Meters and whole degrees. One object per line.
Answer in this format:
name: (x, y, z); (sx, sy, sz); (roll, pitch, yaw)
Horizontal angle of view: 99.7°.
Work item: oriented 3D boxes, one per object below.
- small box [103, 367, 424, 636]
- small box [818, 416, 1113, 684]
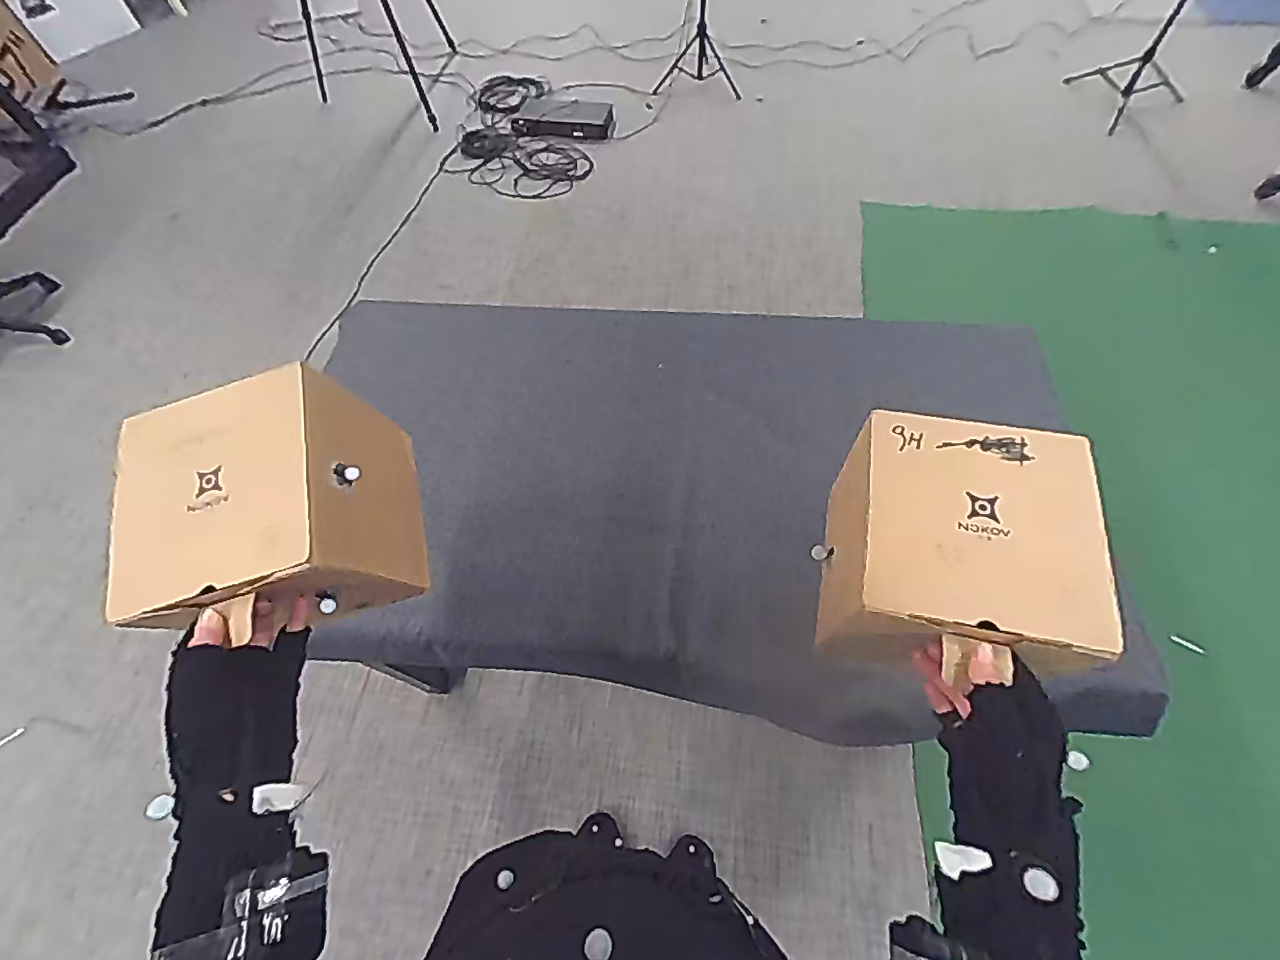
small box: (-0.315, 0.034, 0.486); (0.168, 0.176, 0.179); (-17, 68, 3)
small box: (0.260, 0.070, 0.477); (0.168, 0.176, 0.179); (9, 65, 10)
